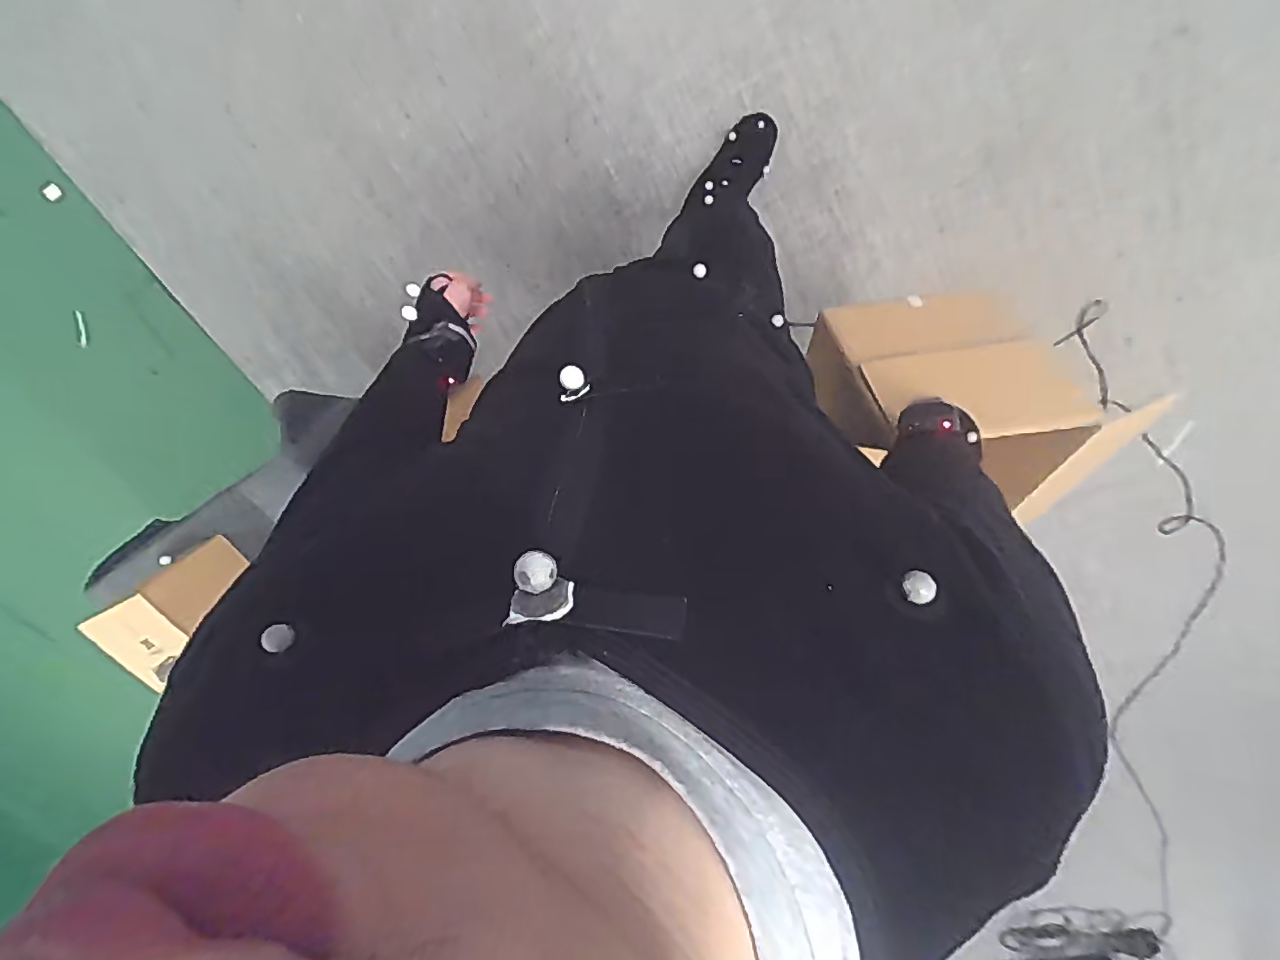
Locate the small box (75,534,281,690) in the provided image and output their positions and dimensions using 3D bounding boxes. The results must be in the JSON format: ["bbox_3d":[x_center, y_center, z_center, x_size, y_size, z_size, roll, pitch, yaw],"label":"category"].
[{"bbox_3d":[-0.786,0.226,0.942,0.168,0.176,0.179,-23,113,16],"label":"small box"}]
